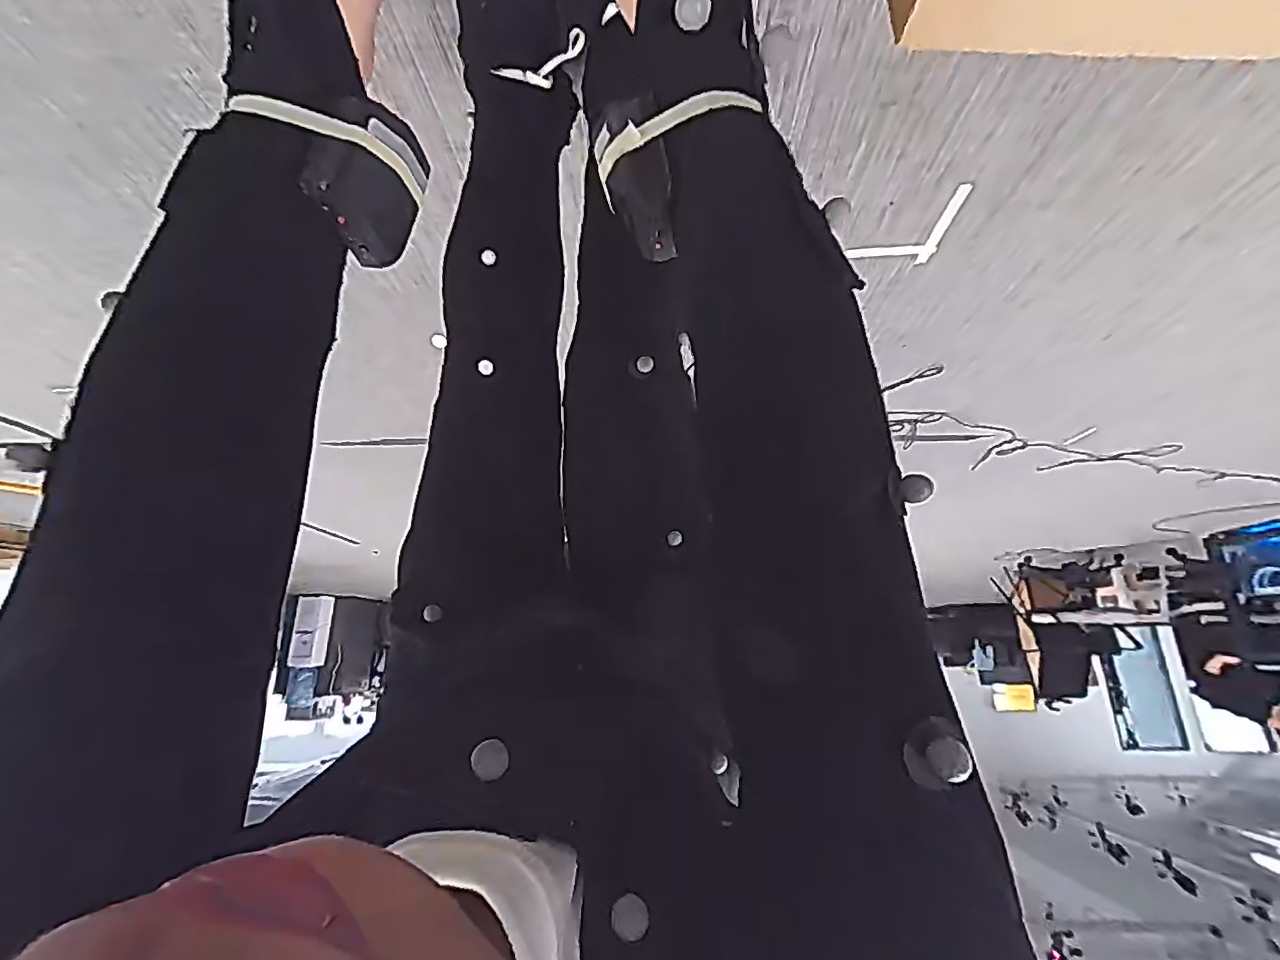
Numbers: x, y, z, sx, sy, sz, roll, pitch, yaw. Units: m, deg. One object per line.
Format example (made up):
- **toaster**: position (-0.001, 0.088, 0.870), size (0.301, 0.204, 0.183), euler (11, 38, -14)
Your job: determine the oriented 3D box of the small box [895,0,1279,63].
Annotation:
- **small box**: position (0.203, -0.289, 0.184), size (0.179, 0.176, 0.168), euler (1, 162, -1)
